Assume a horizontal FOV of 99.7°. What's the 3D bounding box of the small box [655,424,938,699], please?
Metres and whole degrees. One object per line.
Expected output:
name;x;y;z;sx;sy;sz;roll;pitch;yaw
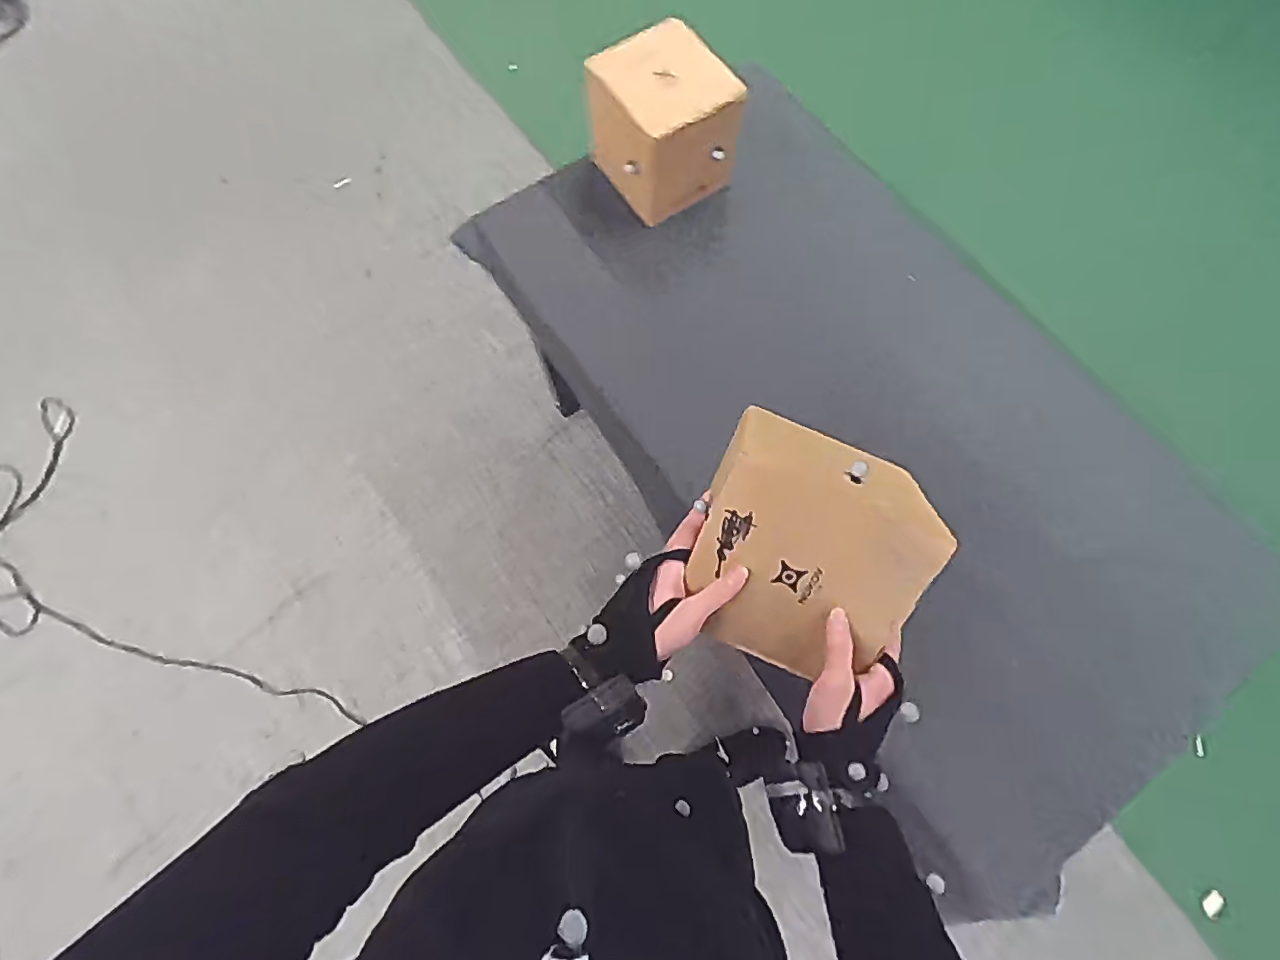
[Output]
small box;0.135;0.063;0.515;0.179;0.176;0.168;23;113;3

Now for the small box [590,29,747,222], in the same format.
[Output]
small box;0.038;-0.537;0.844;0.168;0.176;0.179;-30;76;-11
